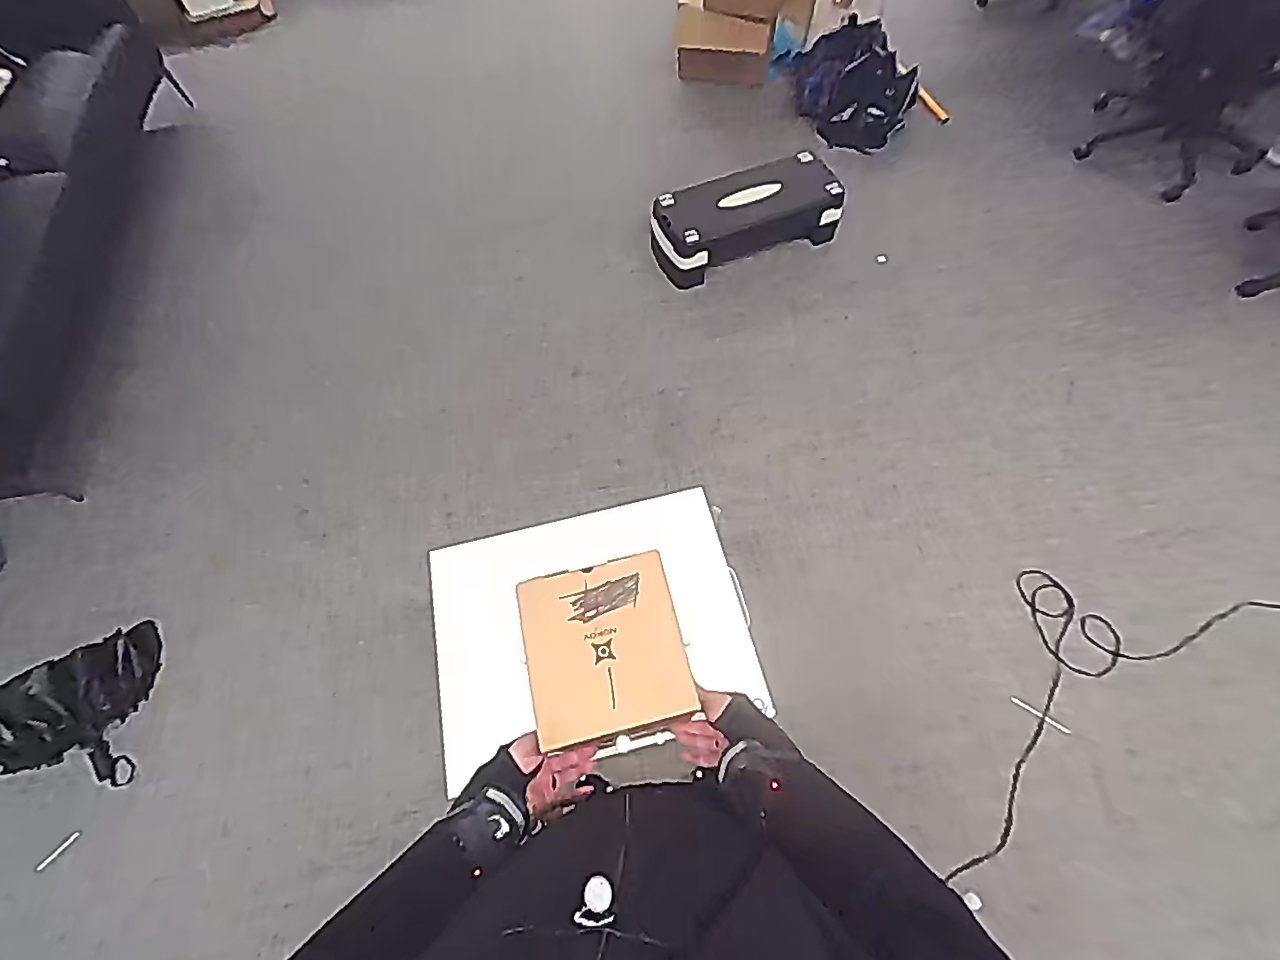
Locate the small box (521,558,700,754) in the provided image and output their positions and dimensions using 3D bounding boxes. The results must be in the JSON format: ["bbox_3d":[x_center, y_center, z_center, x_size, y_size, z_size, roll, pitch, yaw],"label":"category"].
[{"bbox_3d":[-0.036,0.215,0.644,0.168,0.176,0.179,-13,64,-4],"label":"small box"}]
